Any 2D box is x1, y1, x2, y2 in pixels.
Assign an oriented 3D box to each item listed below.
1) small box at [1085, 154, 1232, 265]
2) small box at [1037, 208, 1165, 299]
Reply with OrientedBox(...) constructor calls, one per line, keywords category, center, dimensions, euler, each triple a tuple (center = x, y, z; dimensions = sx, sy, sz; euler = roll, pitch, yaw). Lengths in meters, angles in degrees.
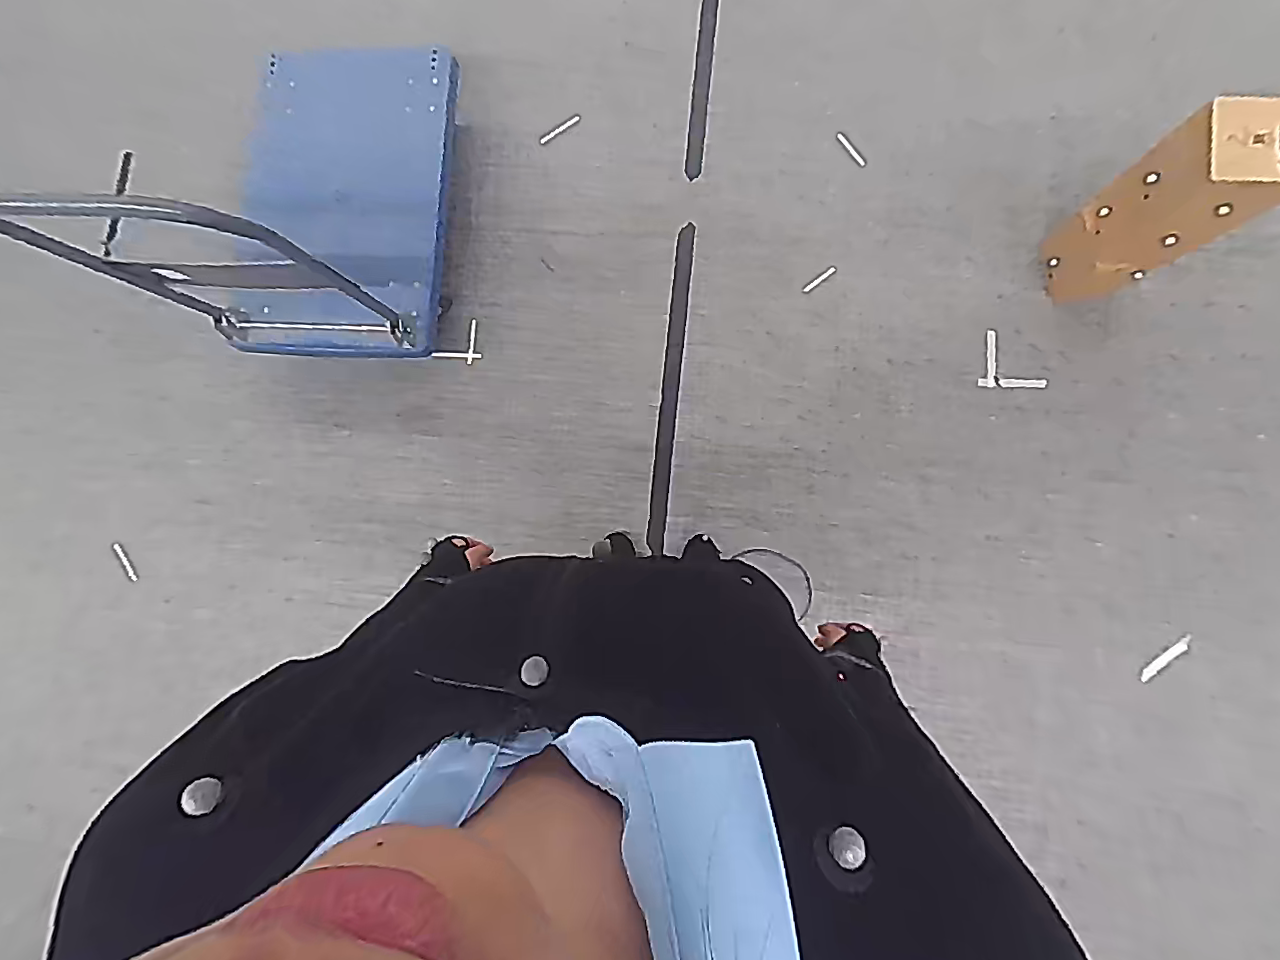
OrientedBox(category="small box", center=(1.171, -0.606, 1.231), dimensions=(0.179, 0.176, 0.168), euler=(5, 85, 6))
OrientedBox(category="small box", center=(1.178, -0.585, 1.393), dimensions=(0.179, 0.176, 0.168), euler=(-7, 84, 4))
